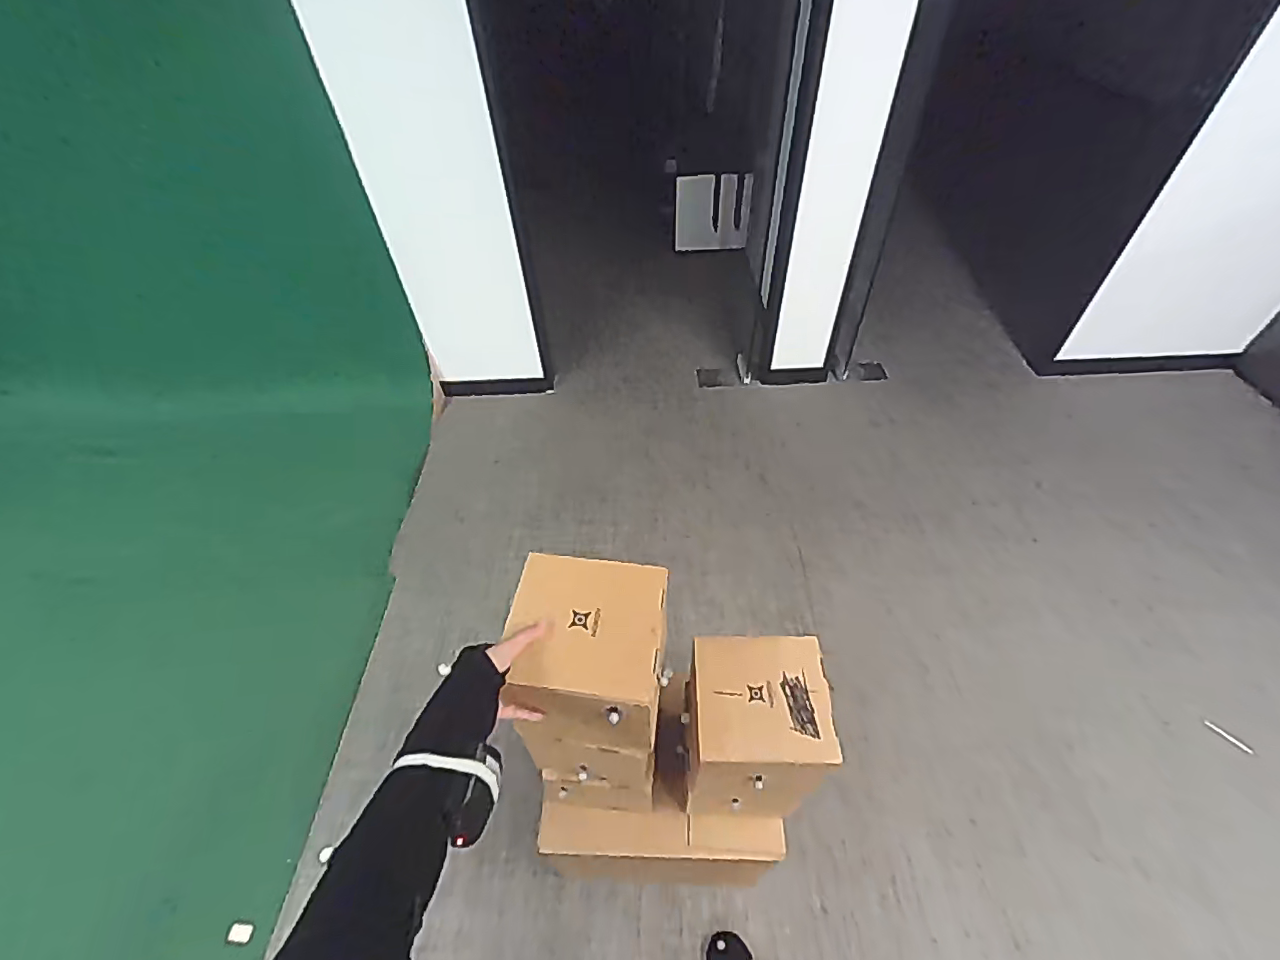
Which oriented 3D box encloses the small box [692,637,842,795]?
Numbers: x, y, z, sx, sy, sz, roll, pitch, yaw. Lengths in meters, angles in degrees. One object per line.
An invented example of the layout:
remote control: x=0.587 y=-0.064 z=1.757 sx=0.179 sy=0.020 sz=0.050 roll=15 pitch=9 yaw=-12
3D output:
small box: x=0.166 y=0.337 z=0.769 sx=0.179 sy=0.176 sz=0.168 roll=-1 pitch=48 yaw=4

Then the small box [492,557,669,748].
small box: x=-0.060 y=0.216 z=0.672 sx=0.179 sy=0.176 sz=0.168 roll=5 pitch=48 yaw=5
